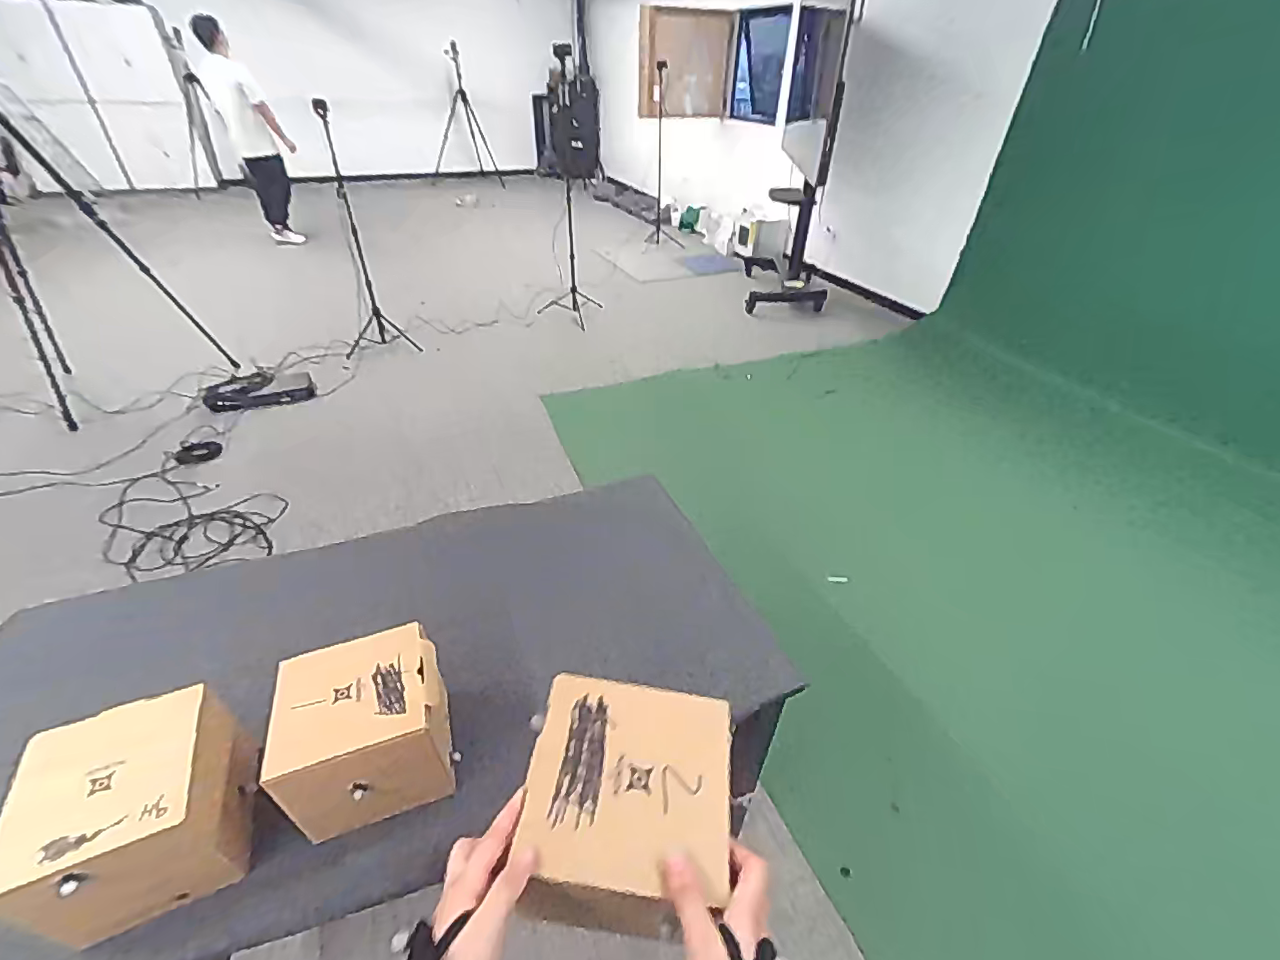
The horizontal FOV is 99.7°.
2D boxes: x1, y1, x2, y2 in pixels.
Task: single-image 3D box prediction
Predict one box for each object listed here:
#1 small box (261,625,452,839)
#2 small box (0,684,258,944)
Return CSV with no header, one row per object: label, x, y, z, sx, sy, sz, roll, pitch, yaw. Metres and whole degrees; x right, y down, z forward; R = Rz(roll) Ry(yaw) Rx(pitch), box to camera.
small box,-0.353,0.327,0.710,0.179,0.176,0.168,-13,38,-16
small box,-0.573,0.382,0.629,0.168,0.176,0.179,-15,40,-20
